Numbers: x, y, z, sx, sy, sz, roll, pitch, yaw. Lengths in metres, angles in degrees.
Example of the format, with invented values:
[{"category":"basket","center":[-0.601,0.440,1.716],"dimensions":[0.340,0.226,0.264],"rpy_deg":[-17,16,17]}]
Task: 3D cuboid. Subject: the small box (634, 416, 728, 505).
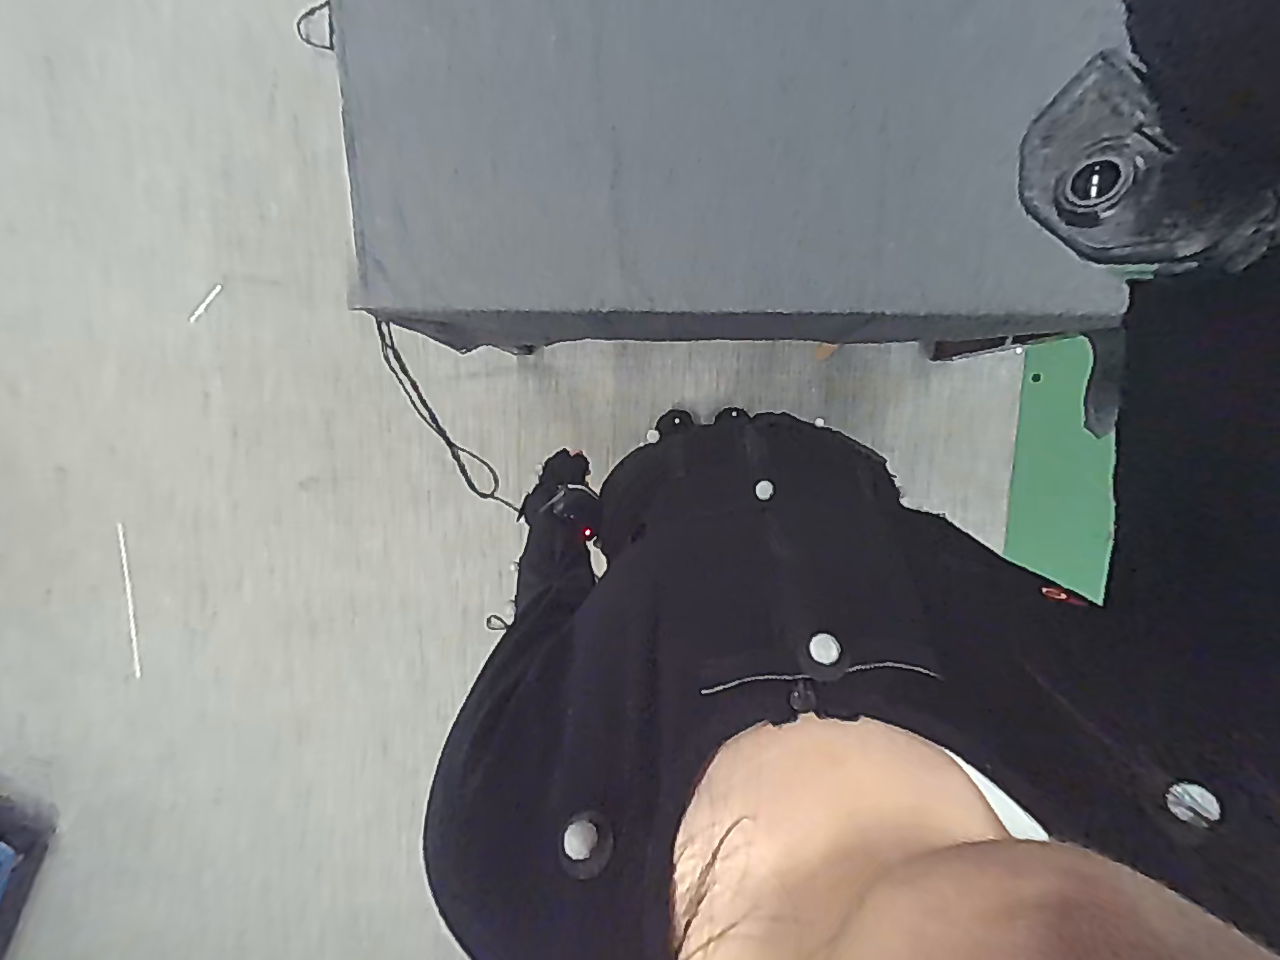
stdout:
[{"category":"small box","center":[0.103,-0.056,1.423],"dimensions":[0.179,0.176,0.168],"rpy_deg":[41,109,13]}]
